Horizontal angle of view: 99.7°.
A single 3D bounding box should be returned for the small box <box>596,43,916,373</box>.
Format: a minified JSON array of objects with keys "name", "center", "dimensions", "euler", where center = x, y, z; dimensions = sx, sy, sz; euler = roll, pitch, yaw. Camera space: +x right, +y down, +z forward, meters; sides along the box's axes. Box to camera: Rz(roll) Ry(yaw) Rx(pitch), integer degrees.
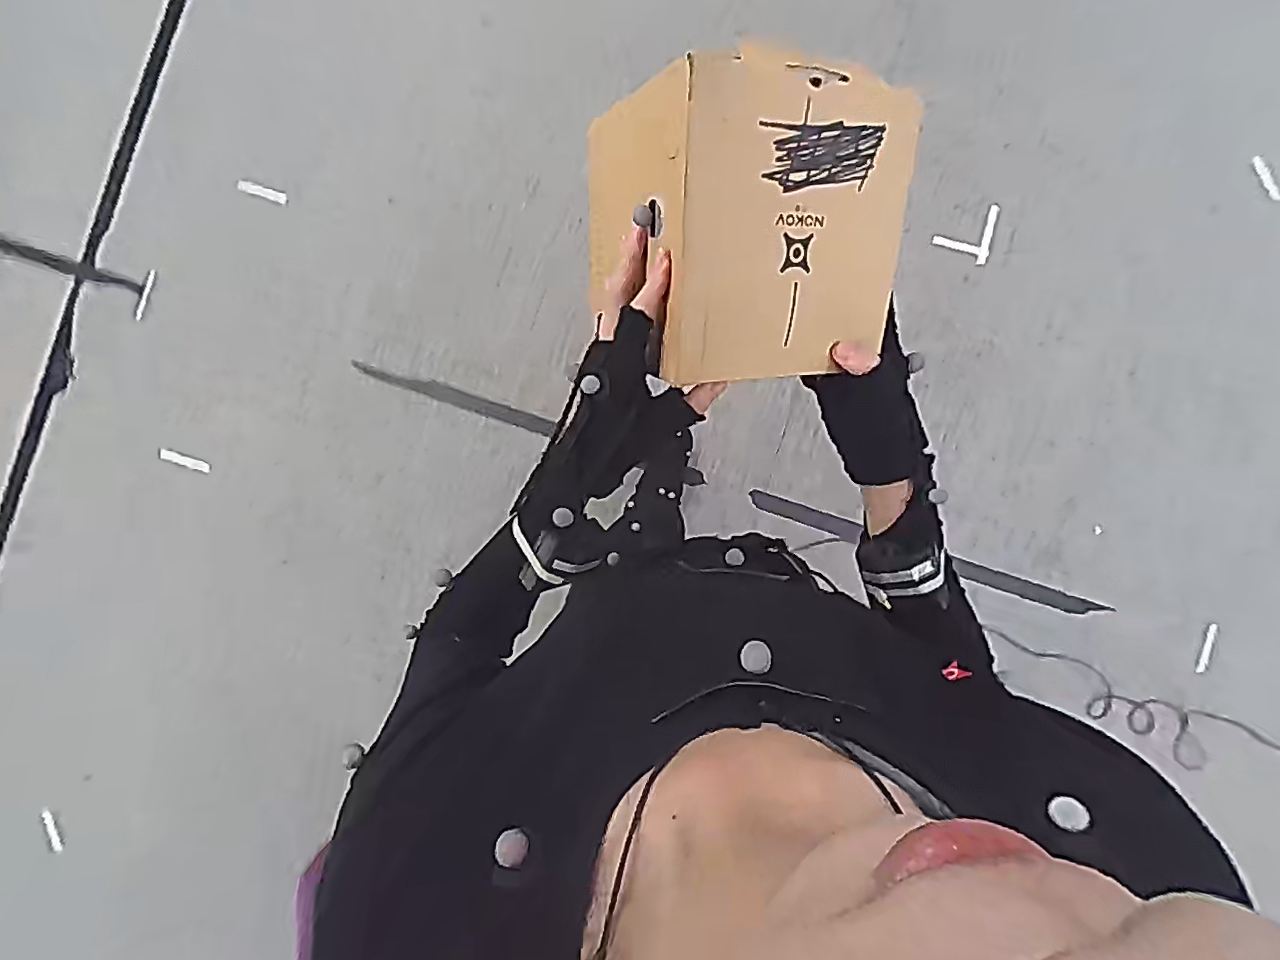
[{"name":"small box","center":[0.068,-0.183,0.410],"dimensions":[0.168,0.176,0.179],"euler":[-8,112,-21]}]
